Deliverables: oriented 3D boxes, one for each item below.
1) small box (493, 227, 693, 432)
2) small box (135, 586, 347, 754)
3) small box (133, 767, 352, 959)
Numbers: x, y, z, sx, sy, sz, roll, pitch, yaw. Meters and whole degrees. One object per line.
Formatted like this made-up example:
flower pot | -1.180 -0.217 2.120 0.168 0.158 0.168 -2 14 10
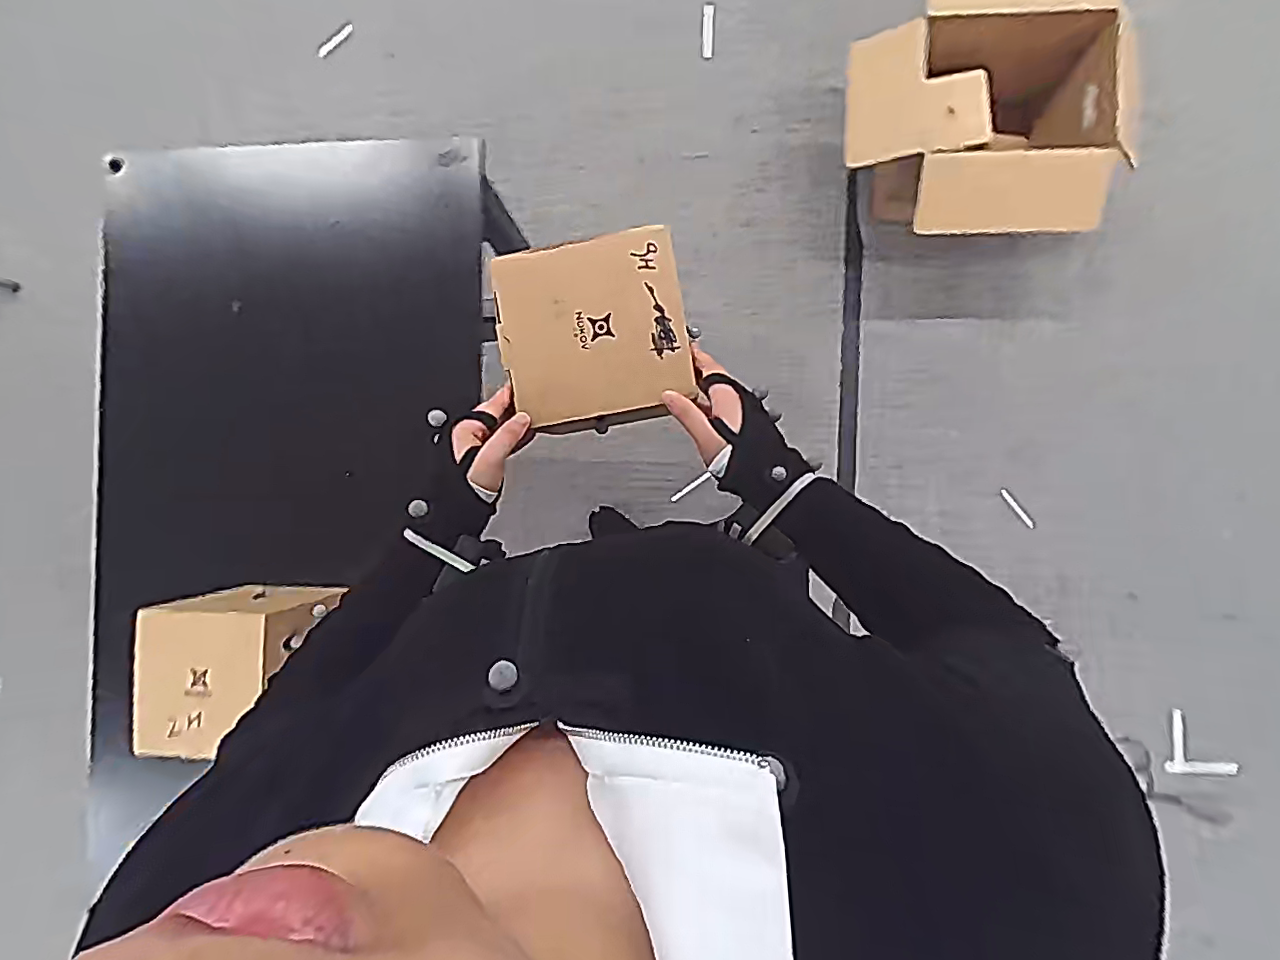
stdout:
small box | -0.038 -0.147 0.592 0.179 0.176 0.168 -9 92 5
small box | -0.524 0.243 0.733 0.168 0.176 0.179 0 90 4
small box | -0.523 0.511 0.730 0.179 0.176 0.168 -2 89 3
